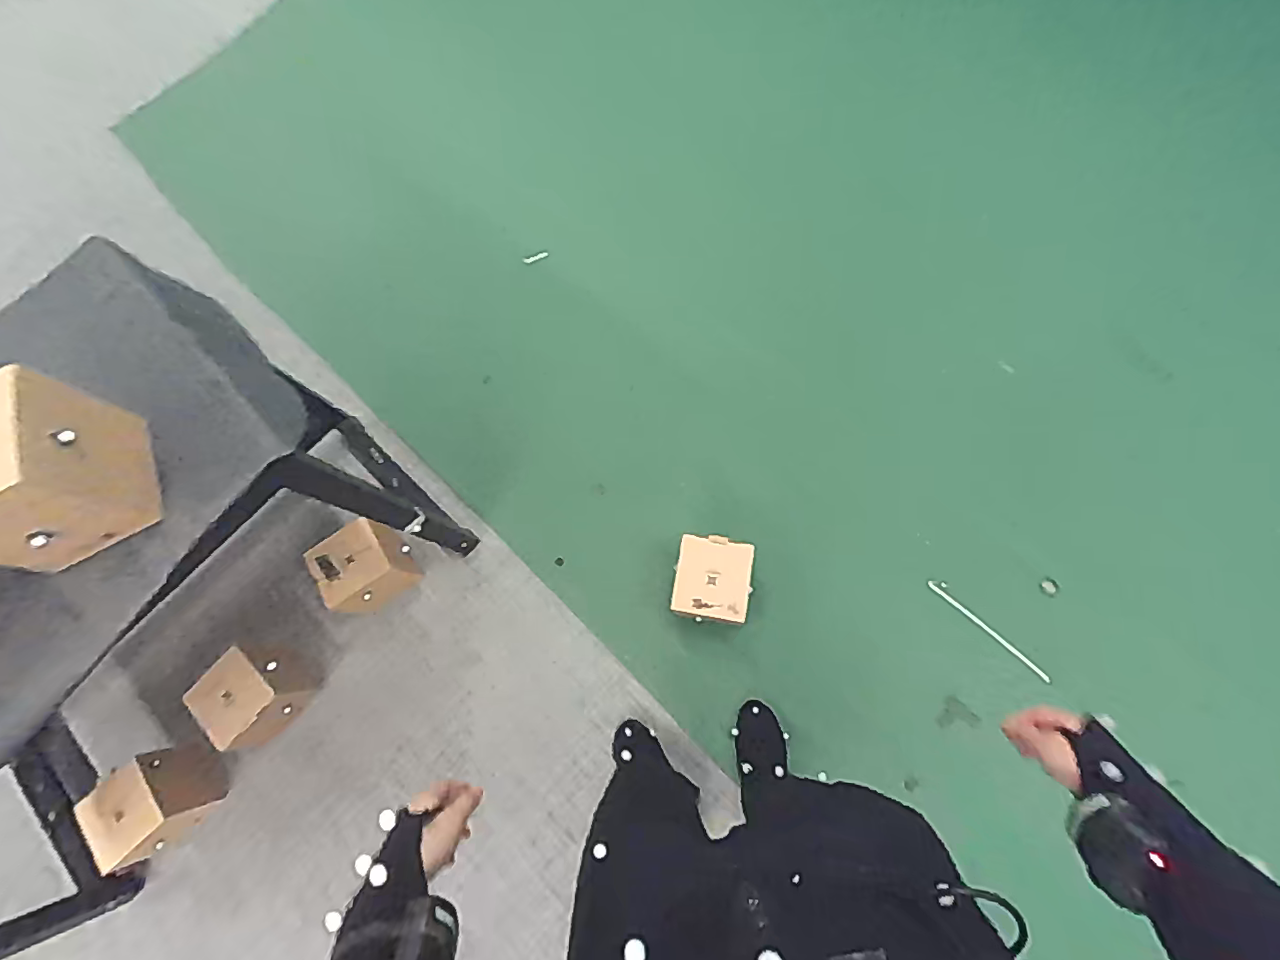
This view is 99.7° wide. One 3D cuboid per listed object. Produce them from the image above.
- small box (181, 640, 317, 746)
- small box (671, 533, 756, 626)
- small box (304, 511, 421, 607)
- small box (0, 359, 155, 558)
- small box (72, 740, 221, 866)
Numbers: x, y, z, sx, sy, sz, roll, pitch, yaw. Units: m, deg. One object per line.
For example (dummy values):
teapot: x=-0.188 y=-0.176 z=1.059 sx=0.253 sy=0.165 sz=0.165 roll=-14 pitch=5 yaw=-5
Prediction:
small box: x=-0.940 y=0.509 z=1.319 sx=0.179 sy=0.176 sz=0.168 roll=39 pitch=81 yaw=16
small box: x=0.171 y=0.240 z=1.276 sx=0.168 sy=0.176 sz=0.179 roll=9 pitch=74 yaw=9
small box: x=-0.700 y=0.210 z=1.380 sx=0.179 sy=0.176 sz=0.168 roll=-33 pitch=73 yaw=-6
small box: x=-0.771 y=-0.013 z=0.687 sx=0.168 sy=0.176 sz=0.179 roll=-26 pitch=70 yaw=-2
small box: x=-1.149 y=0.745 z=1.274 sx=0.168 sy=0.176 sz=0.179 roll=-42 pitch=73 yaw=-6
